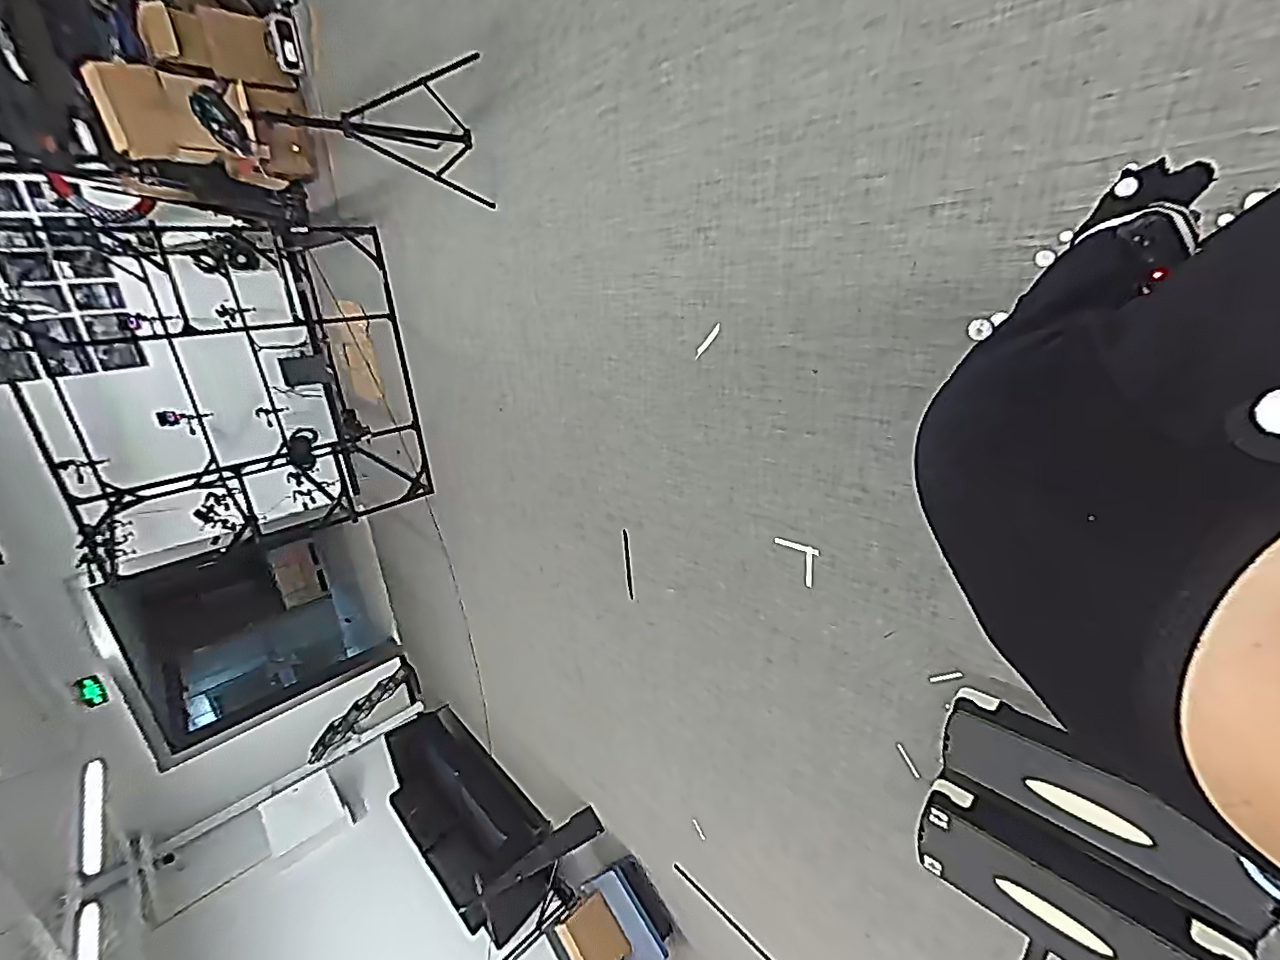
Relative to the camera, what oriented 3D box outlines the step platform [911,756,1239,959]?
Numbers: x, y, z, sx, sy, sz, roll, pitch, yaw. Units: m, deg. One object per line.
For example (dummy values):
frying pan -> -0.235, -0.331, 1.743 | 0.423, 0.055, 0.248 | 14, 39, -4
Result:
step platform -> 1.117, 1.083, 1.475 | 0.684, 0.204, 0.286 | 17, 119, 46
